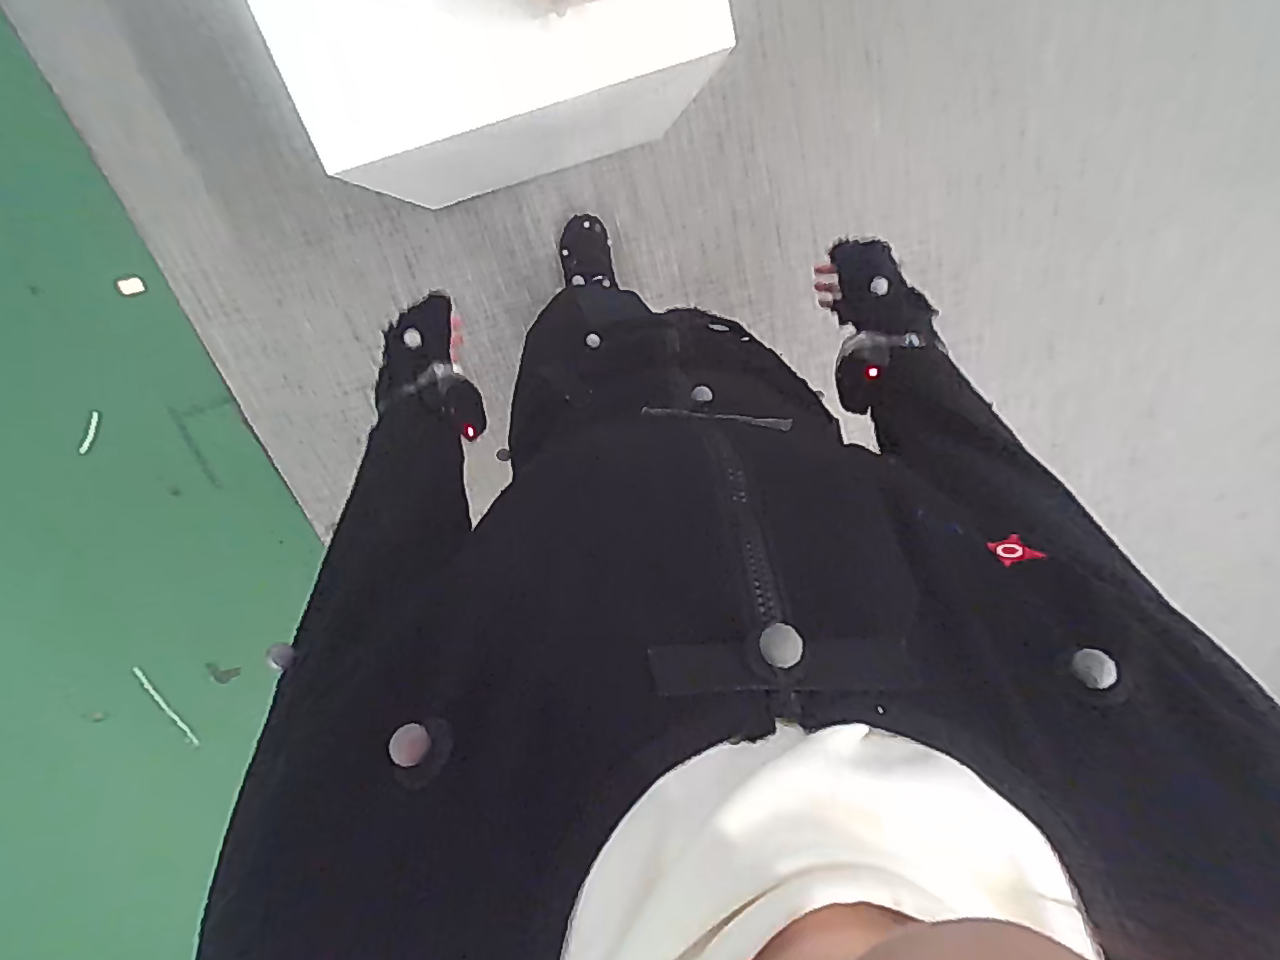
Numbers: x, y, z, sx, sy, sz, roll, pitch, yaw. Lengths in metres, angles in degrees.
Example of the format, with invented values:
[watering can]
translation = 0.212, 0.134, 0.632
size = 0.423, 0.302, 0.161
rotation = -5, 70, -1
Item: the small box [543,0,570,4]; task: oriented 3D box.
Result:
[small box]
translation = -0.055, -0.589, 0.501
size = 0.168, 0.176, 0.179
rotation = -16, 112, 0
